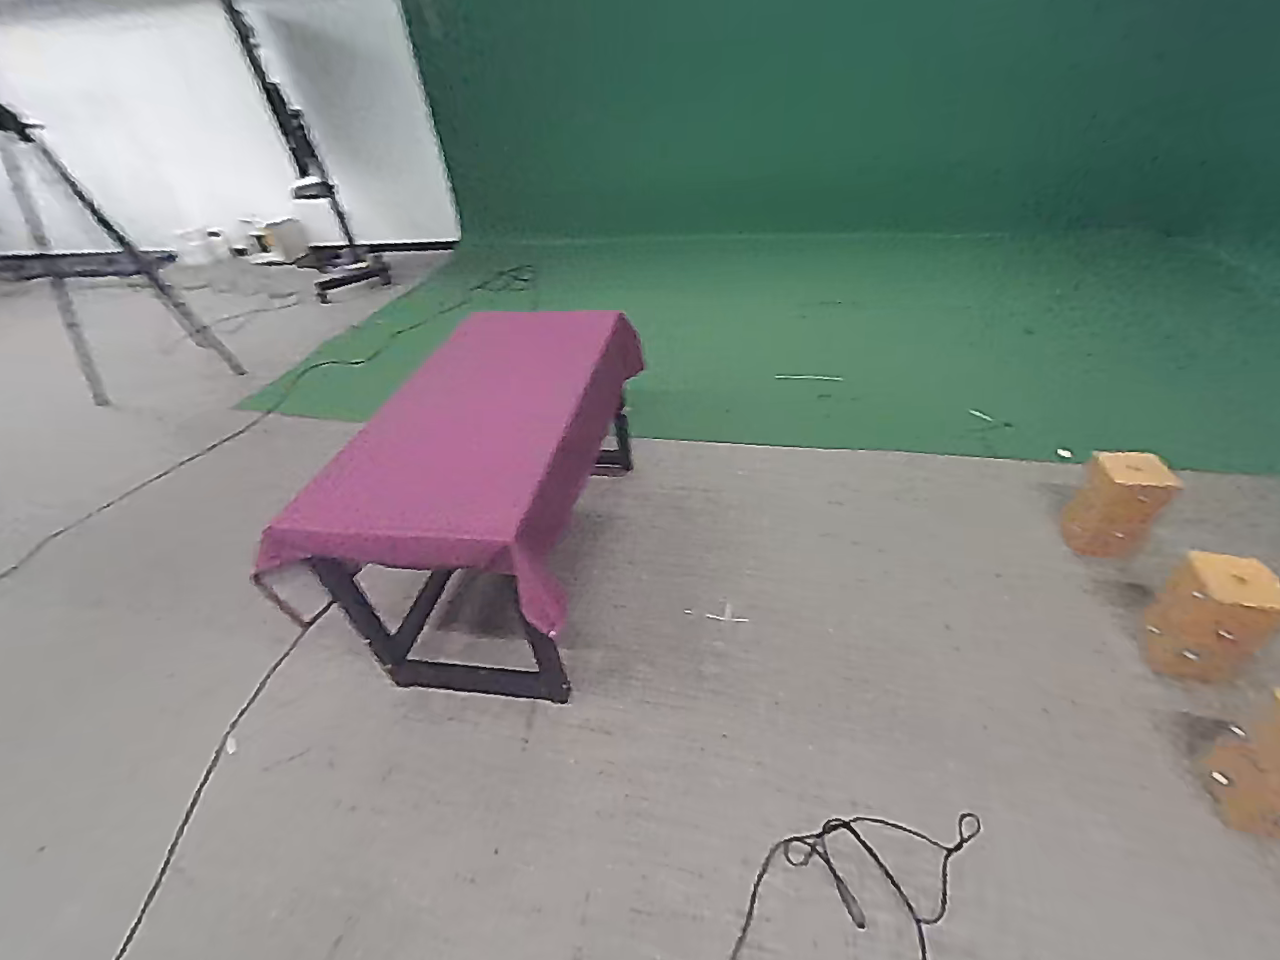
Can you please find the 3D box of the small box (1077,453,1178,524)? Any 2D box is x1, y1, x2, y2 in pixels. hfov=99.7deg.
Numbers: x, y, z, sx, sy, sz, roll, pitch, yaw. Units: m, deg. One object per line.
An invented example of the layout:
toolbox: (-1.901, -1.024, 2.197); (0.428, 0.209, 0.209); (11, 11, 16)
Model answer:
small box: (1.578, 0.030, 1.770); (0.179, 0.176, 0.168); (2, 41, 11)

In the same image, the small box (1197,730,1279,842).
small box: (1.437, 0.702, 1.231); (0.179, 0.176, 0.168); (5, 41, 15)

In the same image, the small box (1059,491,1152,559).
small box: (1.596, 0.157, 1.872); (0.179, 0.176, 0.168); (4, 41, 12)

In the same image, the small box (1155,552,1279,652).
small box: (1.524, 0.319, 1.426); (0.168, 0.176, 0.179); (7, 41, 16)

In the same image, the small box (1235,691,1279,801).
small box: (1.418, 0.574, 1.128); (0.179, 0.176, 0.168); (7, 41, 15)
